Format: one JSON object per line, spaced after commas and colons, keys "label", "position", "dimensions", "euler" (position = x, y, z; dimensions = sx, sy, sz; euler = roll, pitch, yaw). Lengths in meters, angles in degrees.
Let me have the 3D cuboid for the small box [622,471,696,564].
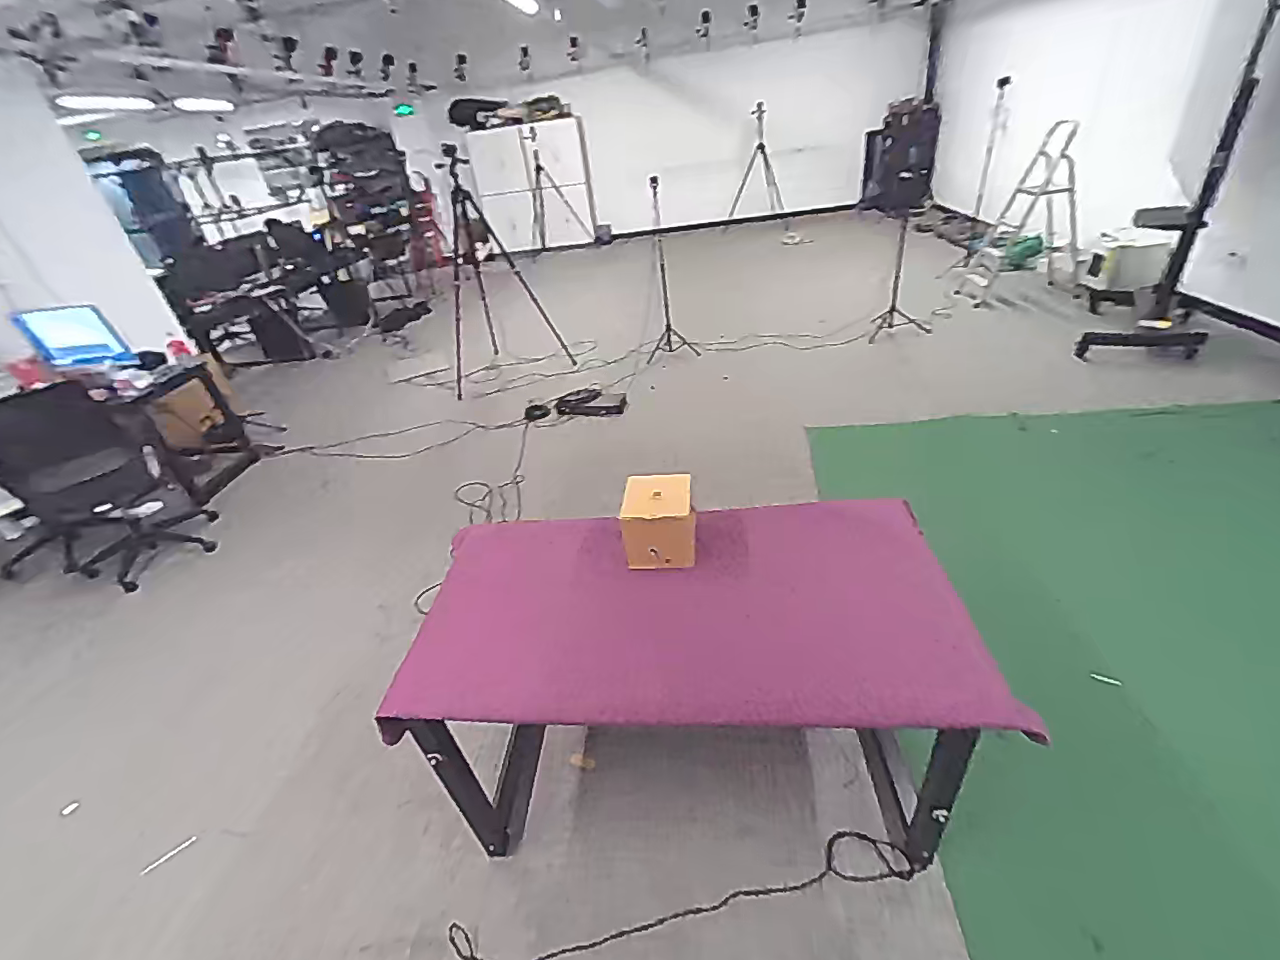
{"label": "small box", "position": [0.055, 0.093, 1.370], "dimensions": [0.168, 0.176, 0.179], "euler": [-2, 36, 9]}
